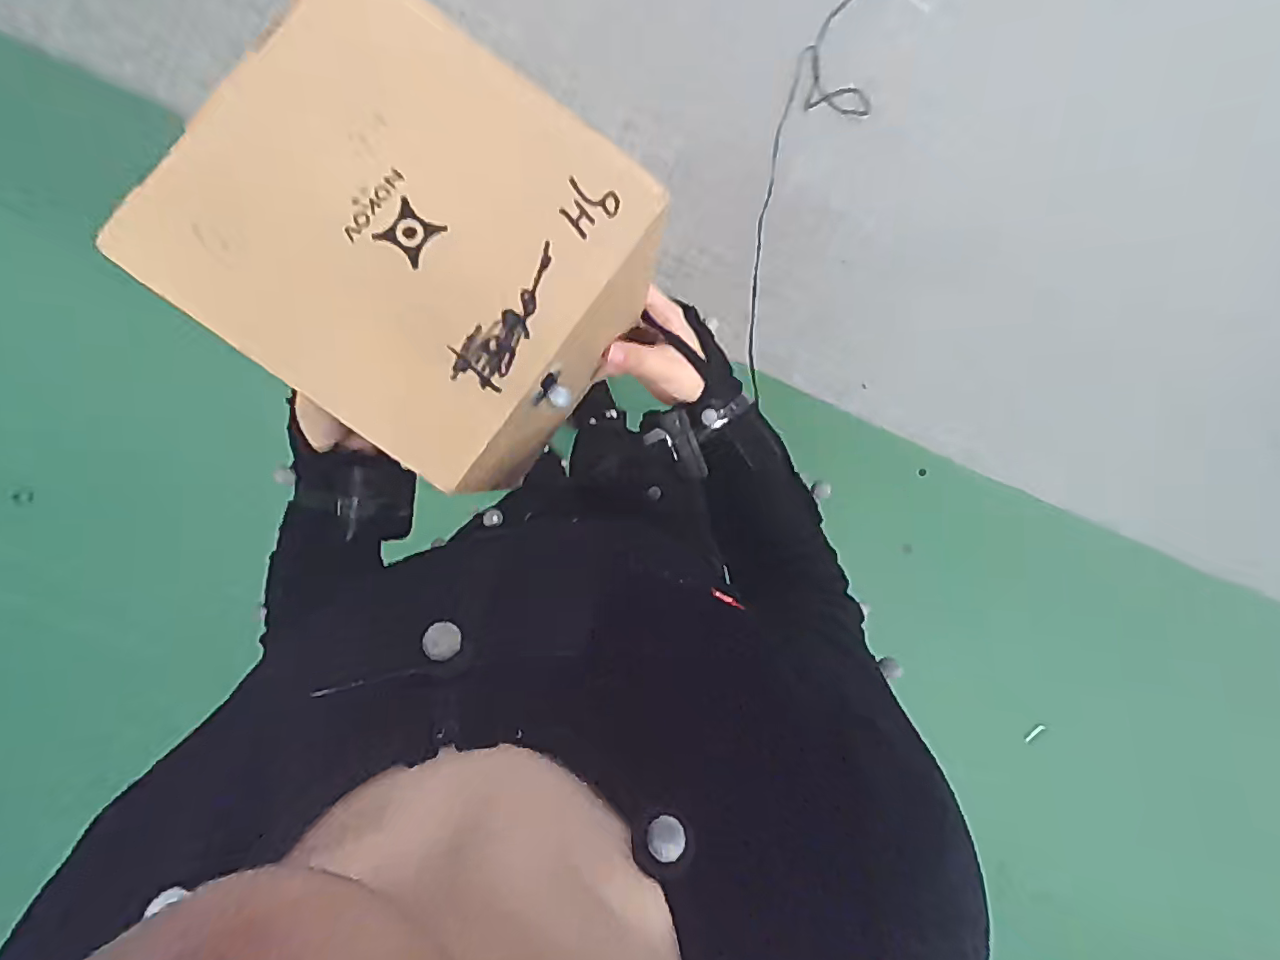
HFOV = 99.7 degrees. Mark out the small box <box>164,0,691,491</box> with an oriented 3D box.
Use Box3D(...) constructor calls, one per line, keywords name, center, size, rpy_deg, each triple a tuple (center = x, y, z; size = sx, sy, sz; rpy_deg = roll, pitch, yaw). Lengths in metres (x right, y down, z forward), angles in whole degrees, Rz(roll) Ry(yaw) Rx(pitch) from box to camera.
Box3D(name="small box", center=(-0.097, -0.105, 0.321), size=(0.179, 0.176, 0.168), rpy_deg=(36, 87, -2))
